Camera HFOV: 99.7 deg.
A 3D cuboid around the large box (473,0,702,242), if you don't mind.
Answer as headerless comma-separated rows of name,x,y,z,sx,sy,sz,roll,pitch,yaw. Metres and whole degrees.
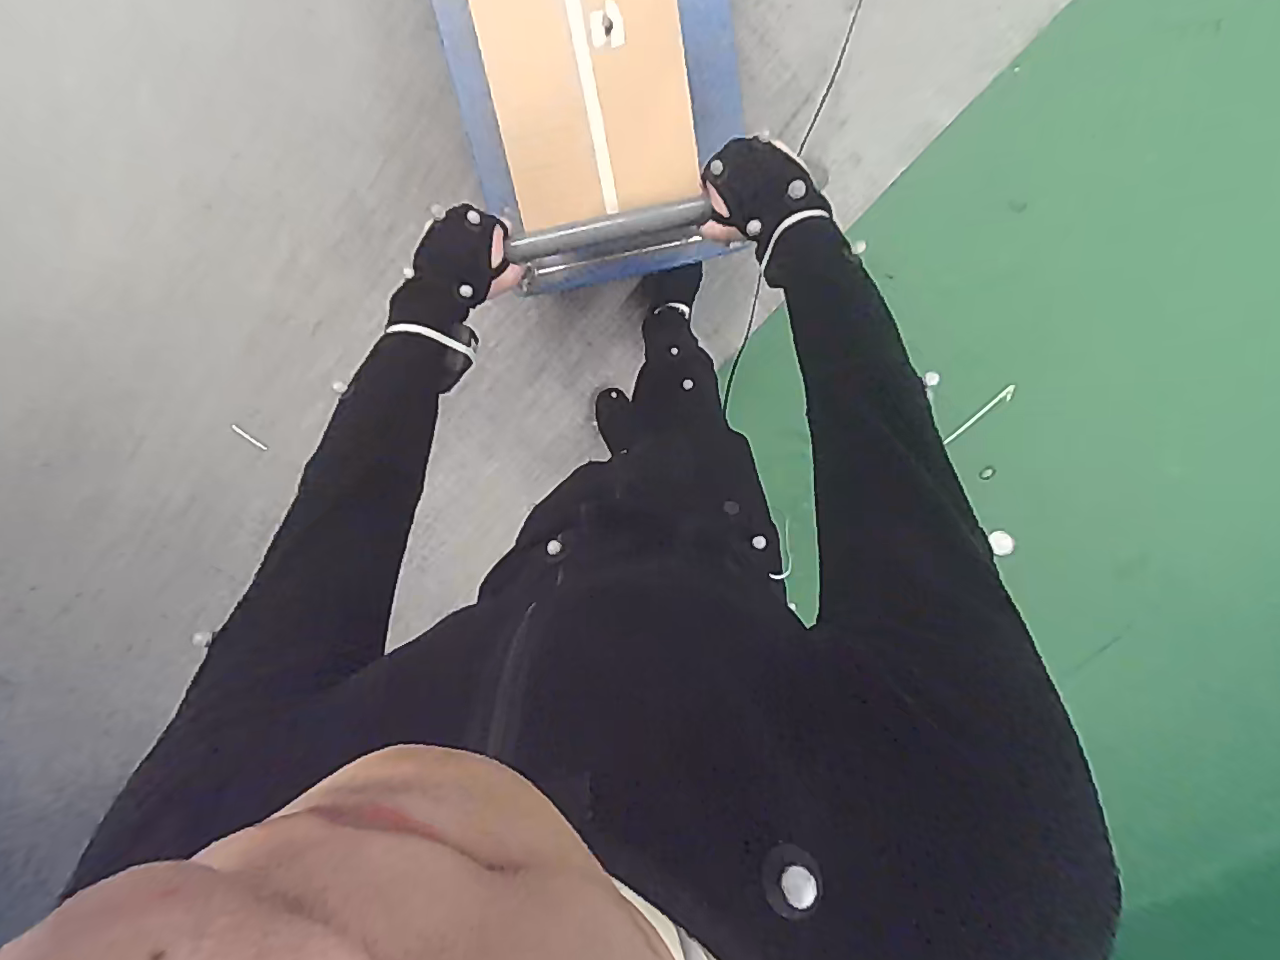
large box,-0.075,-0.694,1.012,0.320,0.320,0.408,-9,111,5
